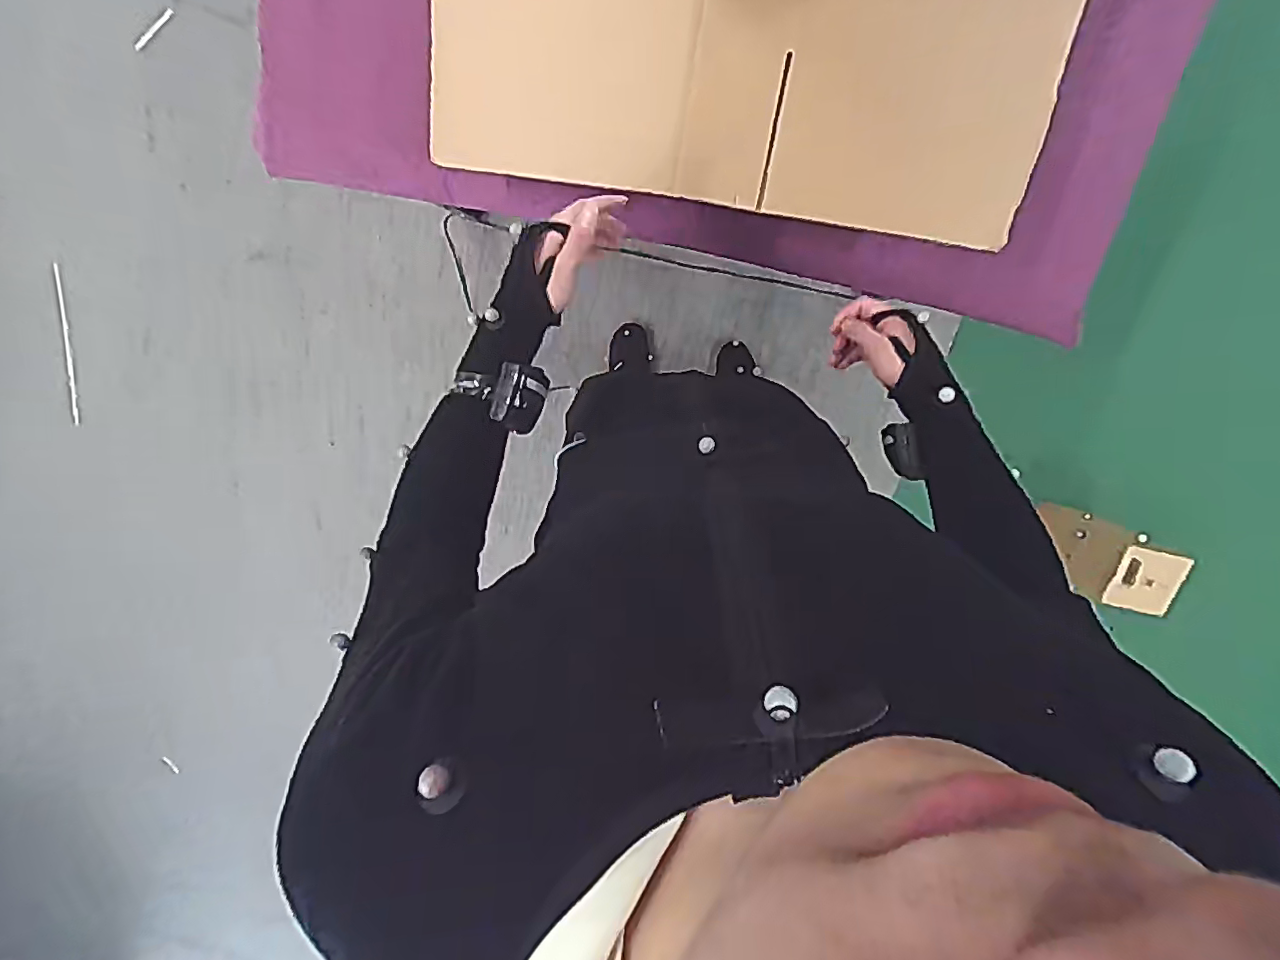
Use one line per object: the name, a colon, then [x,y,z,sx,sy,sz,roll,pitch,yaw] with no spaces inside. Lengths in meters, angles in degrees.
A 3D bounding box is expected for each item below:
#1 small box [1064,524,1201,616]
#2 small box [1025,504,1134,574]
small box: [1.285,0.230,1.427,0.179,0.176,0.168,12,107,-3]
small box: [1.290,0.183,1.583,0.179,0.176,0.168,12,107,-1]
